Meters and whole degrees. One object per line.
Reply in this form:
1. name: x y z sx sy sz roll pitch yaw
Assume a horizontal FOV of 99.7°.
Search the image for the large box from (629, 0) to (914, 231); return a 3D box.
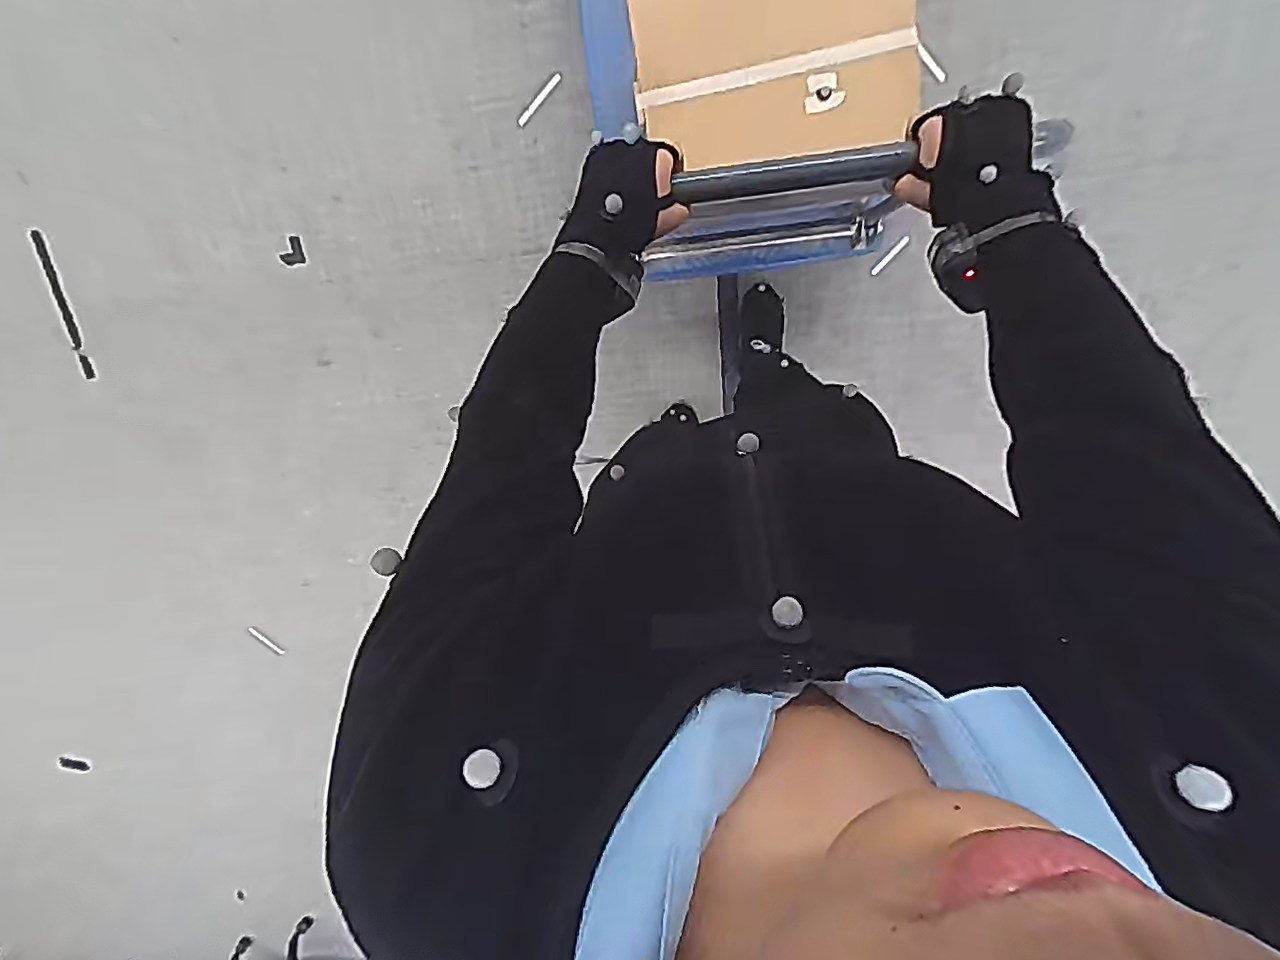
1. large box: 0.213 -0.662 0.959 0.408 0.320 0.320 -8 108 7
